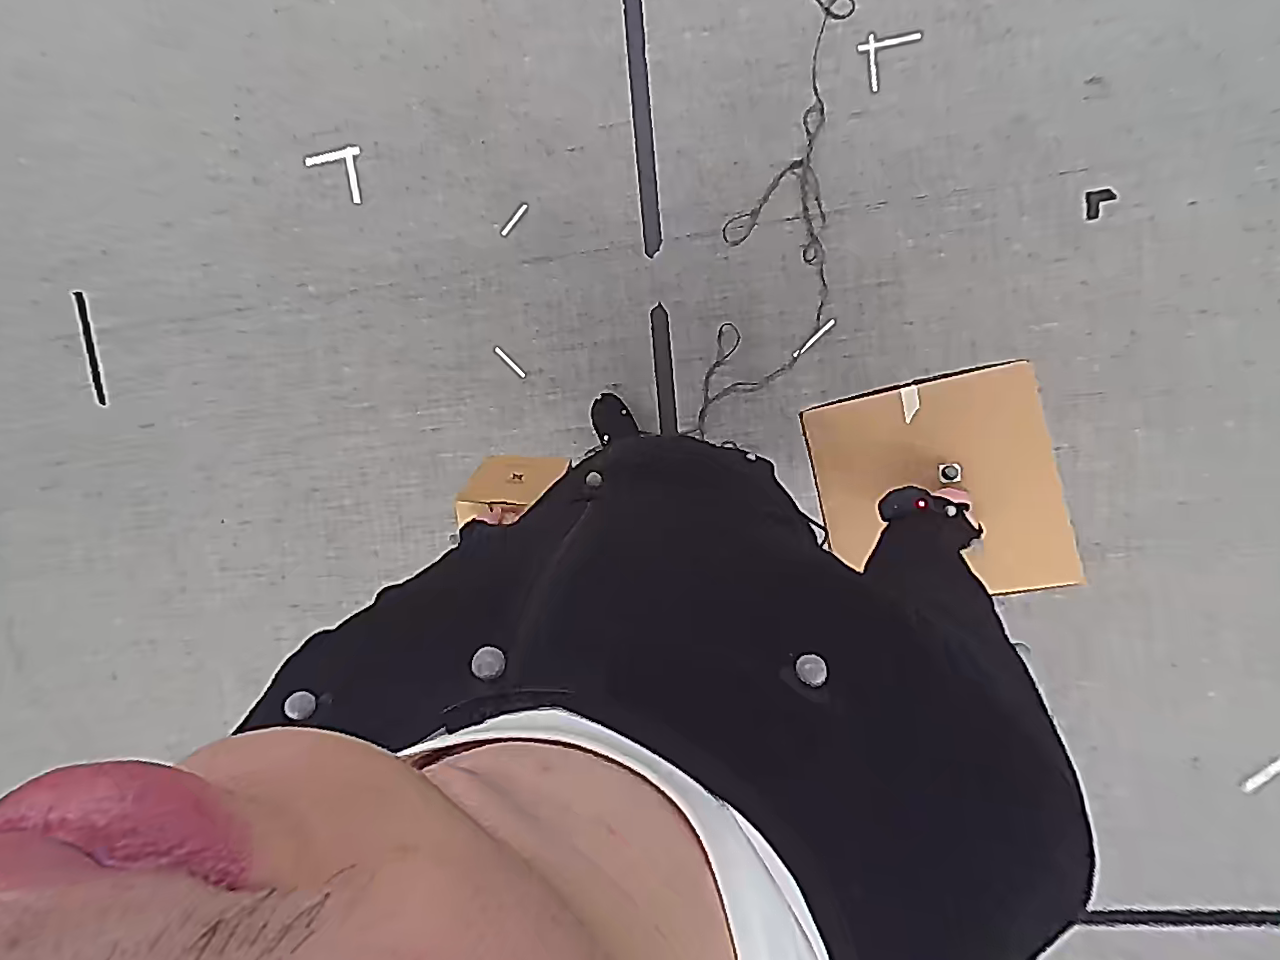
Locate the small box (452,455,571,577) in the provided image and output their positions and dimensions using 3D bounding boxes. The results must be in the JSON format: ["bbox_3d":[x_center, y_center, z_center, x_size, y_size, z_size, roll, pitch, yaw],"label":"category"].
[{"bbox_3d":[-0.226,0.065,1.008,0.168,0.179,0.176,1,119,3],"label":"small box"}]
